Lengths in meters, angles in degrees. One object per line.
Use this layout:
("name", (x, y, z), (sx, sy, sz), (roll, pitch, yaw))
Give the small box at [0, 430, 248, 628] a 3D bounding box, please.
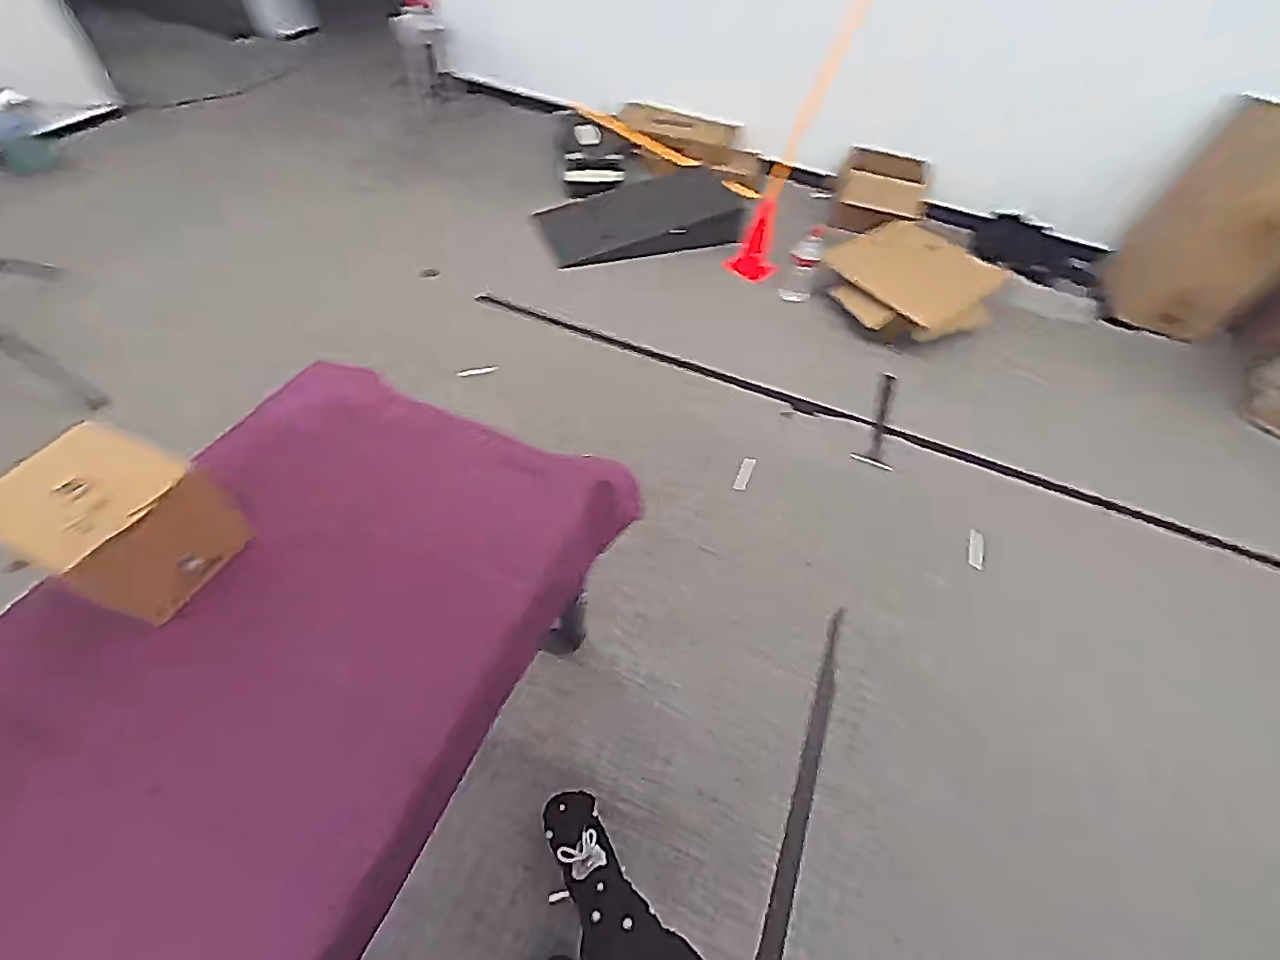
("small box", (-0.676, 0.069, 0.706), (0.179, 0.176, 0.168), (21, 54, 8))
